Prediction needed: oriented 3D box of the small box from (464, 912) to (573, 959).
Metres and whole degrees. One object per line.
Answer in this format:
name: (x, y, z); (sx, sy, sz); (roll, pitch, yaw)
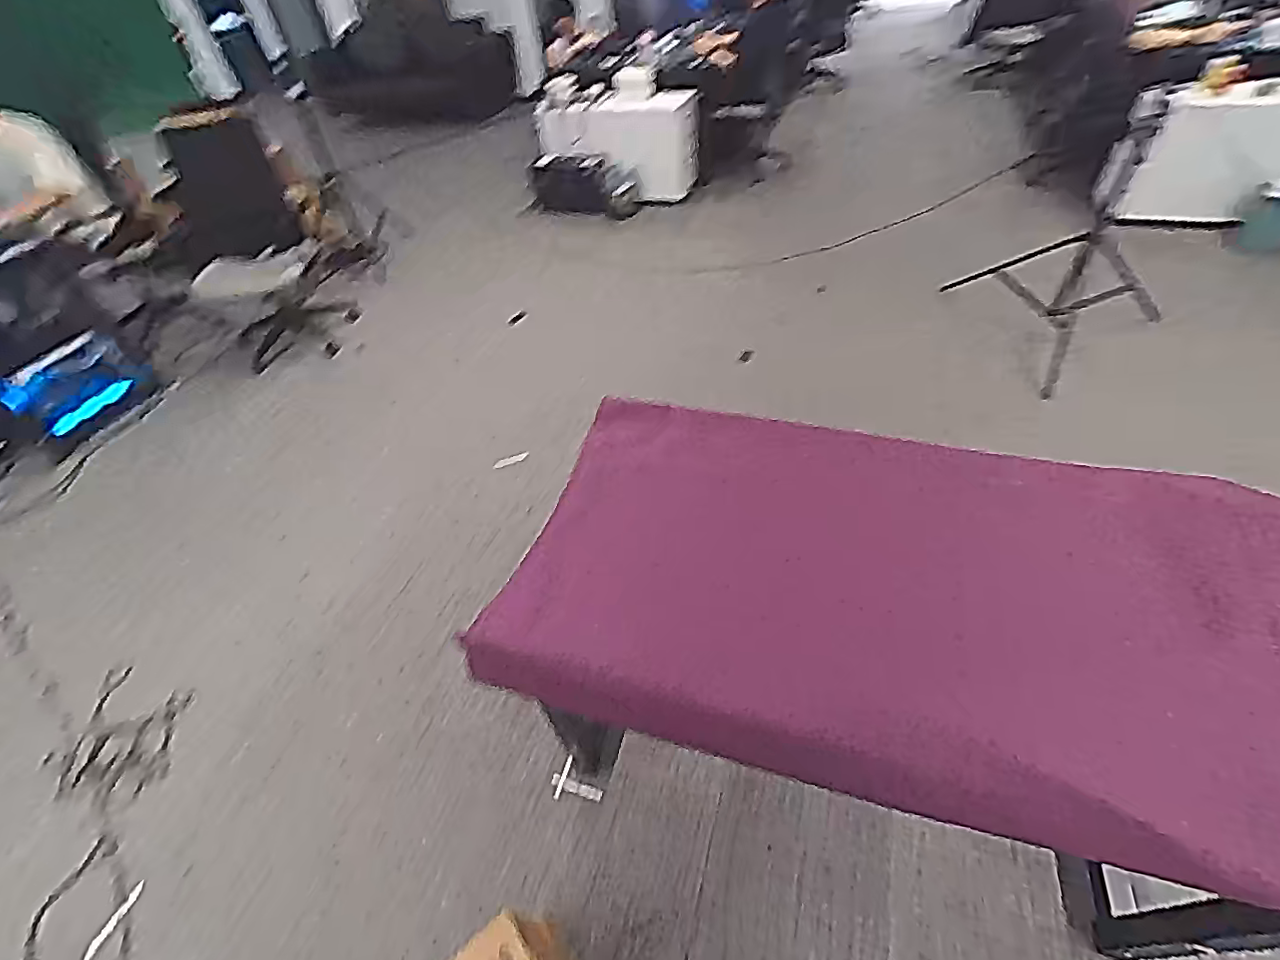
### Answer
small box: (-0.198, 0.883, 0.922); (0.179, 0.176, 0.168); (-23, 48, -15)
